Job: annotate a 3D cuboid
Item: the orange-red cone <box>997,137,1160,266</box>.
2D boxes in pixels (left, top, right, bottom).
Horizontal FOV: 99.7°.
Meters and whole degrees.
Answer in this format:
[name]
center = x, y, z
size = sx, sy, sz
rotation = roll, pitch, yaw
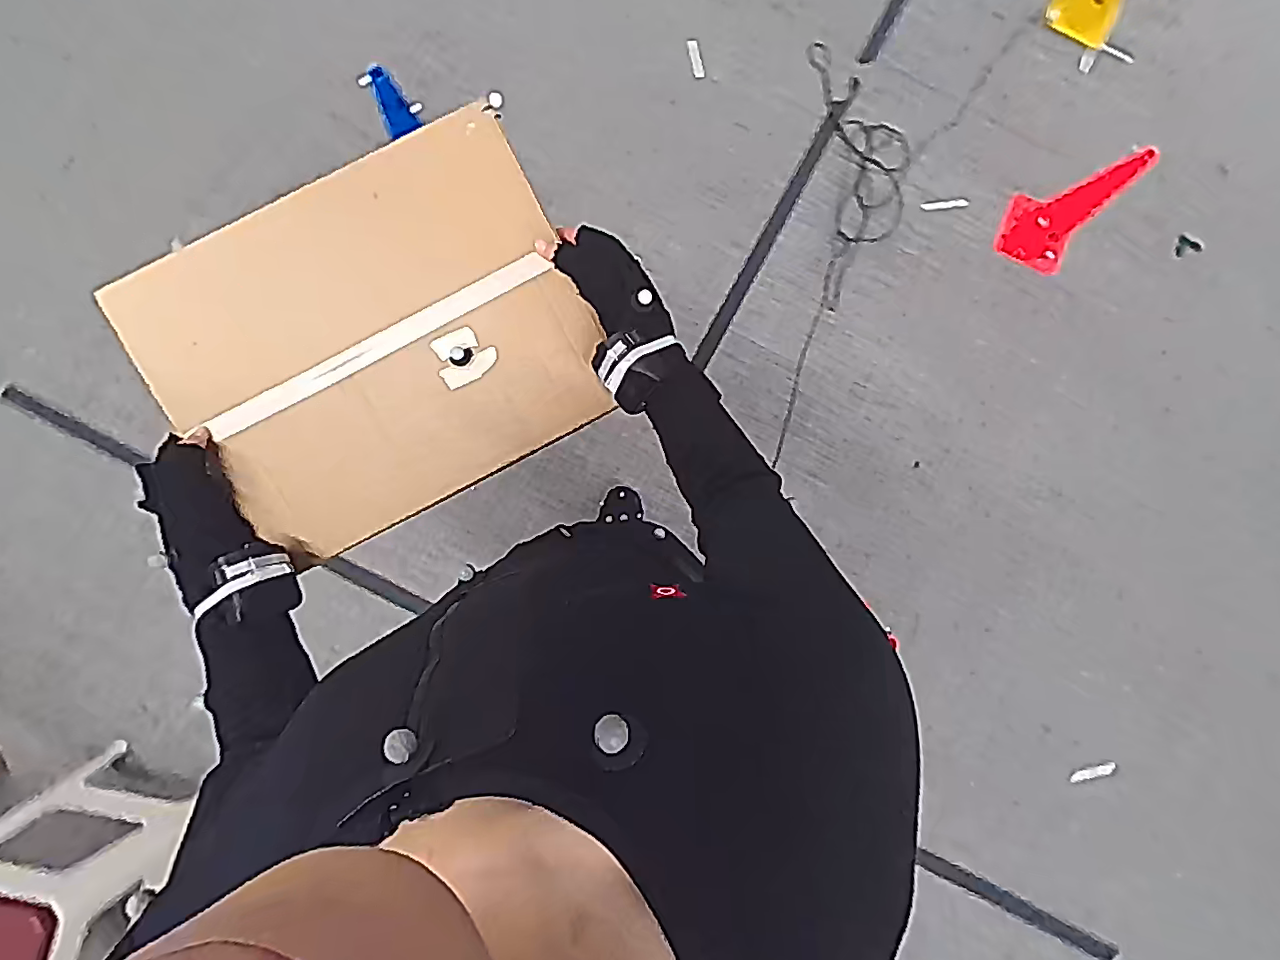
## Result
[orange-red cone]
center = 1.182, -0.767, 1.432
size = 0.198, 0.360, 0.199
rotation = 25, 84, -1
